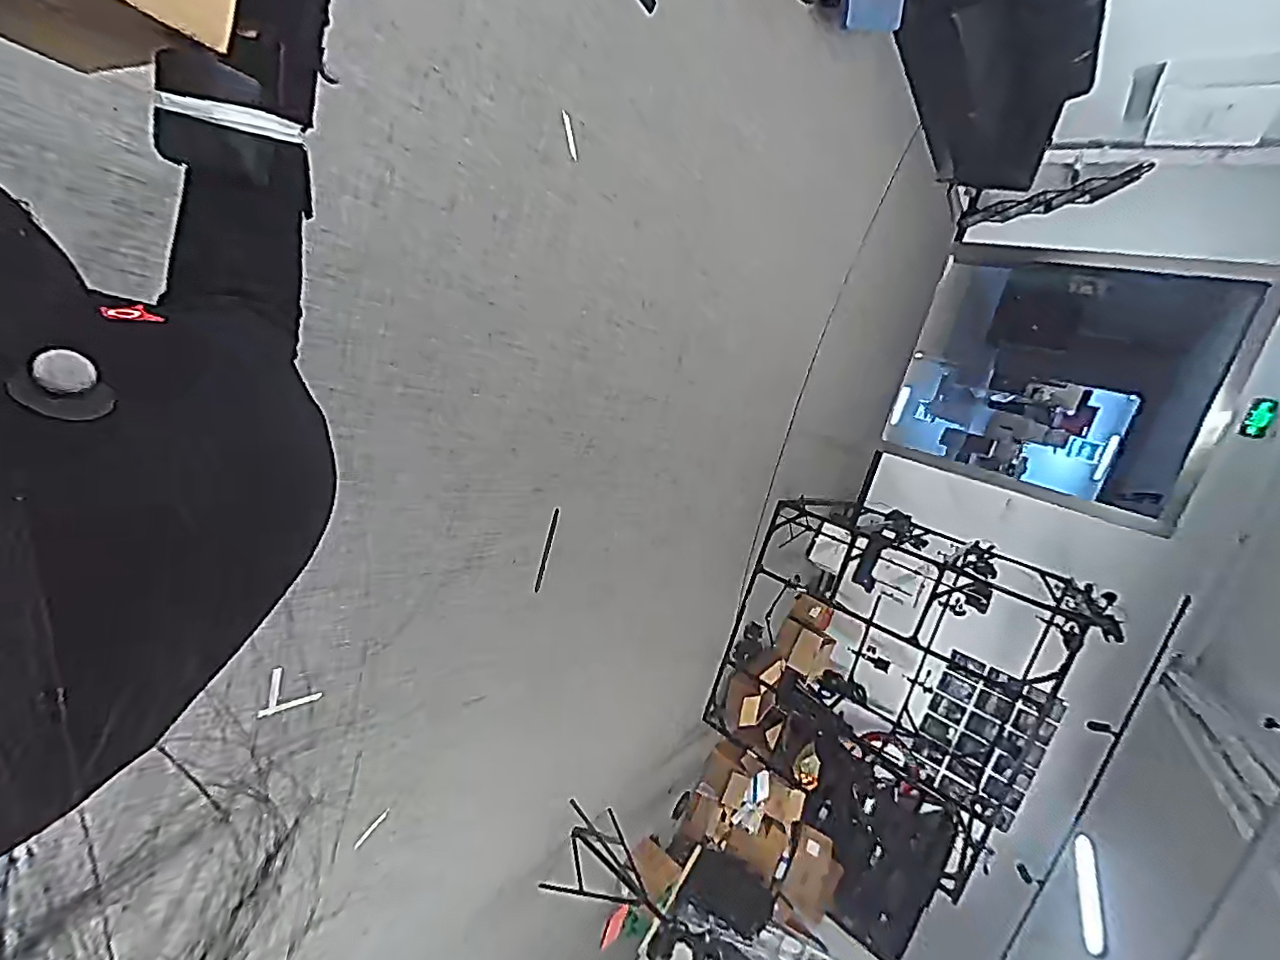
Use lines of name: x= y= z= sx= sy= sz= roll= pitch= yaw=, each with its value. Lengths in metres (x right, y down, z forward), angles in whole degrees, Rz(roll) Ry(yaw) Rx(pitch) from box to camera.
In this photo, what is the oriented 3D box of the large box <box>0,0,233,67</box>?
large box: x=-0.441 y=-0.452 z=0.213 sx=0.408 sy=0.320 sz=0.320 roll=-1 pitch=112 yaw=-58
